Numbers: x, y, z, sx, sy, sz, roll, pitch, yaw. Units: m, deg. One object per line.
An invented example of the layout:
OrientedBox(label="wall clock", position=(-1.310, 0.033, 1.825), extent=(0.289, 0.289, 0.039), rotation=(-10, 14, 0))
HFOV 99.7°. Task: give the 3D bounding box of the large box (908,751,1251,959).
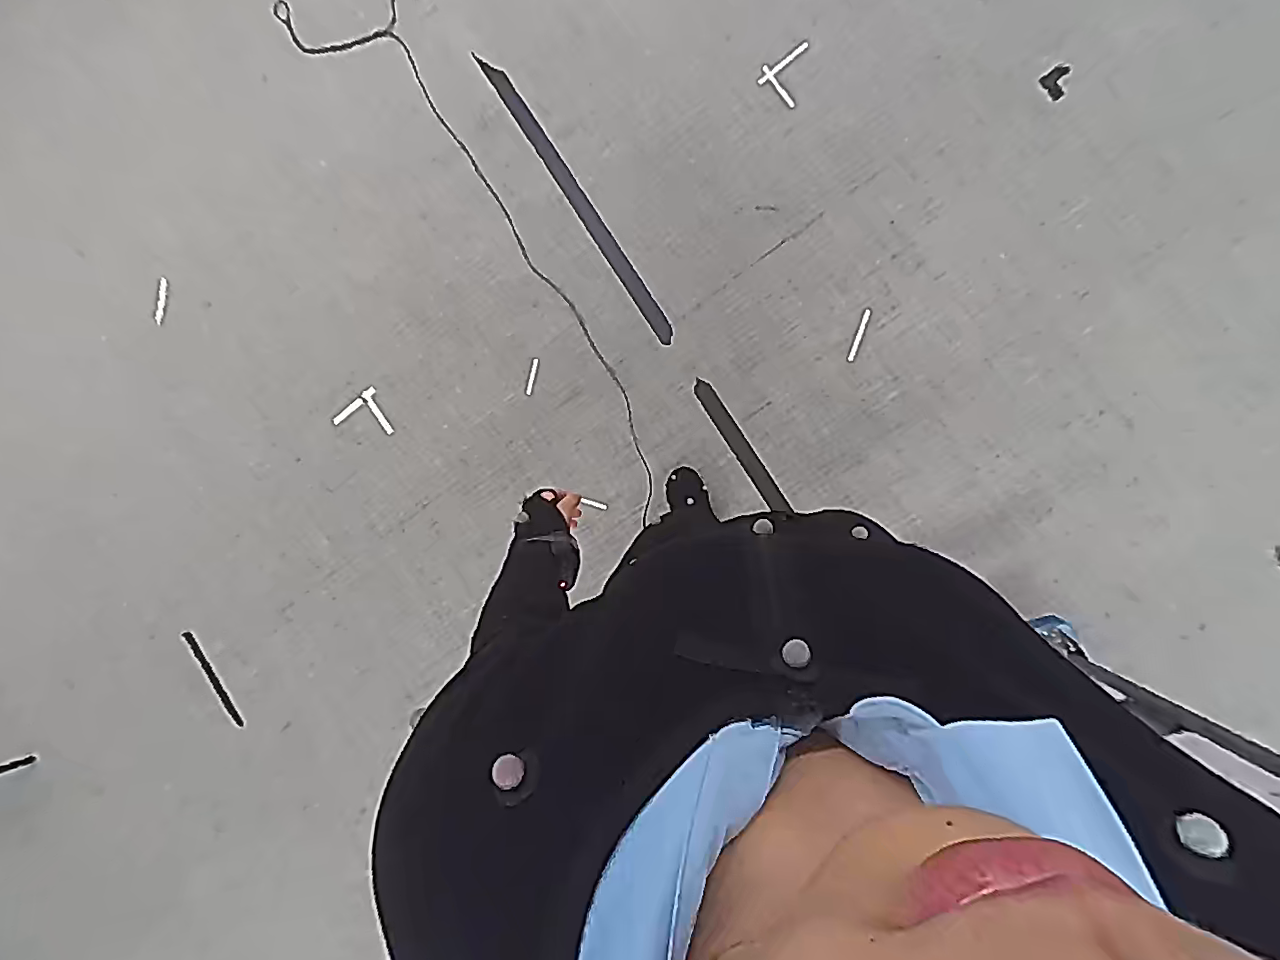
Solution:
OrientedBox(label="large box", position=(0.832, 0.813, 1.076), extent=(0.408, 0.320, 0.320), rotation=(-23, 87, 9))
